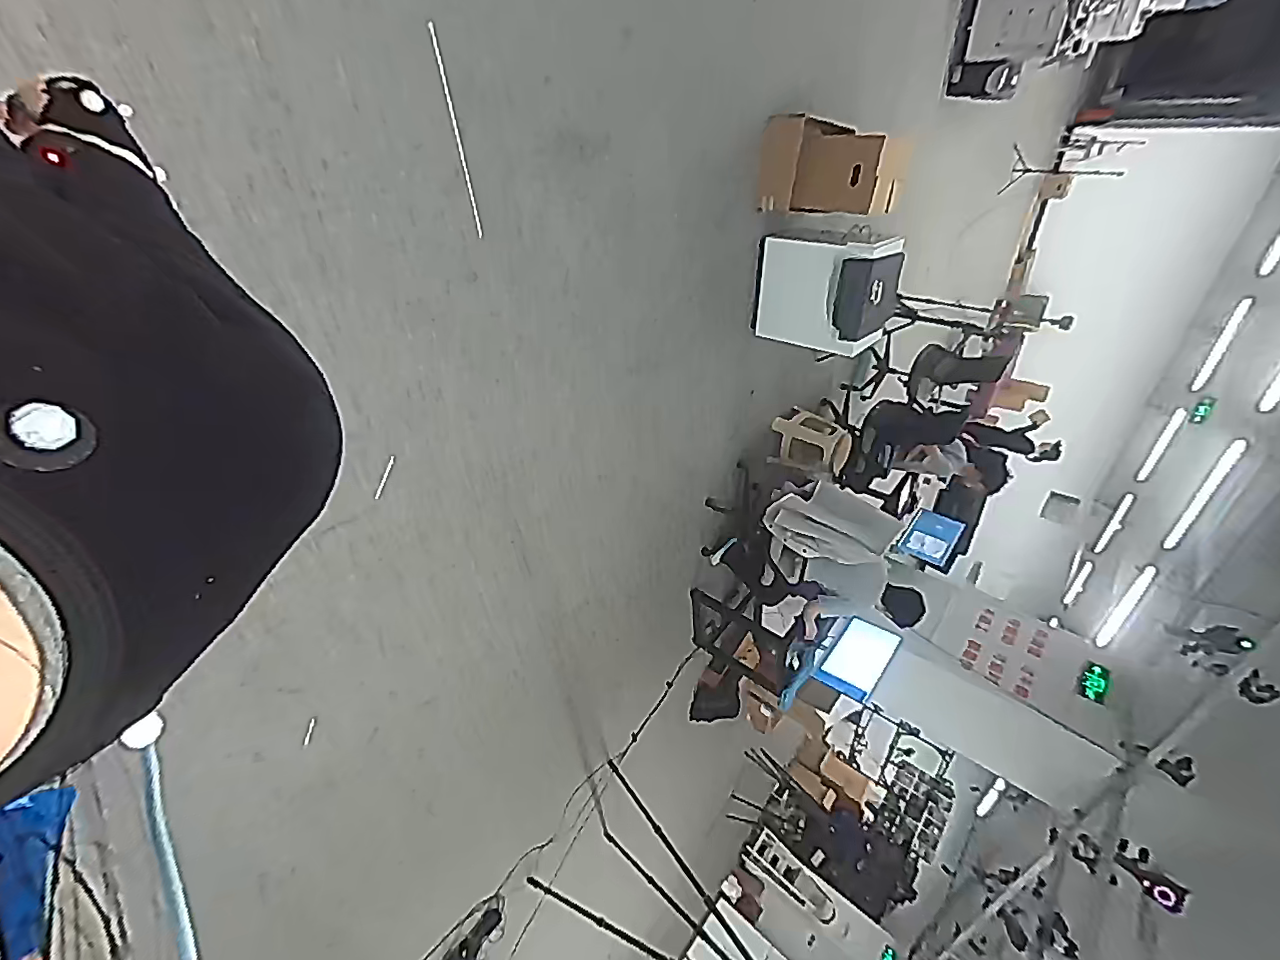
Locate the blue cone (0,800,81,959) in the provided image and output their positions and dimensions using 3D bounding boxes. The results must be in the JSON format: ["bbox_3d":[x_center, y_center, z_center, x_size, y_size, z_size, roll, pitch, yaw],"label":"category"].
[{"bbox_3d":[-1.304,0.891,1.151,0.193,0.380,0.192,22,91,-58],"label":"blue cone"}]
